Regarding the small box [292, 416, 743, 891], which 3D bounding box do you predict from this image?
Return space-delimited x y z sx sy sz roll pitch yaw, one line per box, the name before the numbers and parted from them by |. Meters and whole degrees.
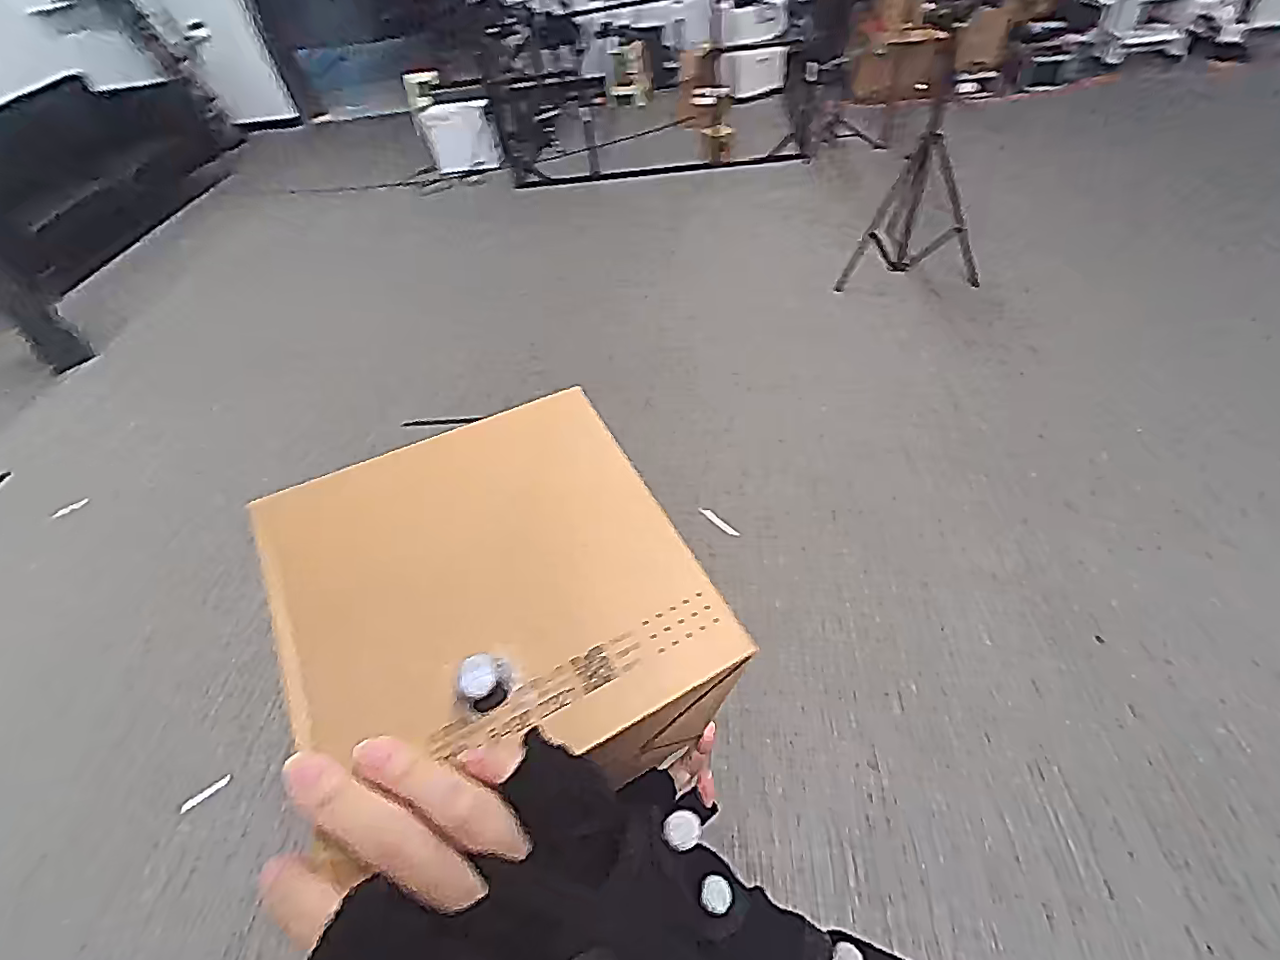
small box | -0.064 0.101 0.313 0.168 0.179 0.176 -24 58 -19
